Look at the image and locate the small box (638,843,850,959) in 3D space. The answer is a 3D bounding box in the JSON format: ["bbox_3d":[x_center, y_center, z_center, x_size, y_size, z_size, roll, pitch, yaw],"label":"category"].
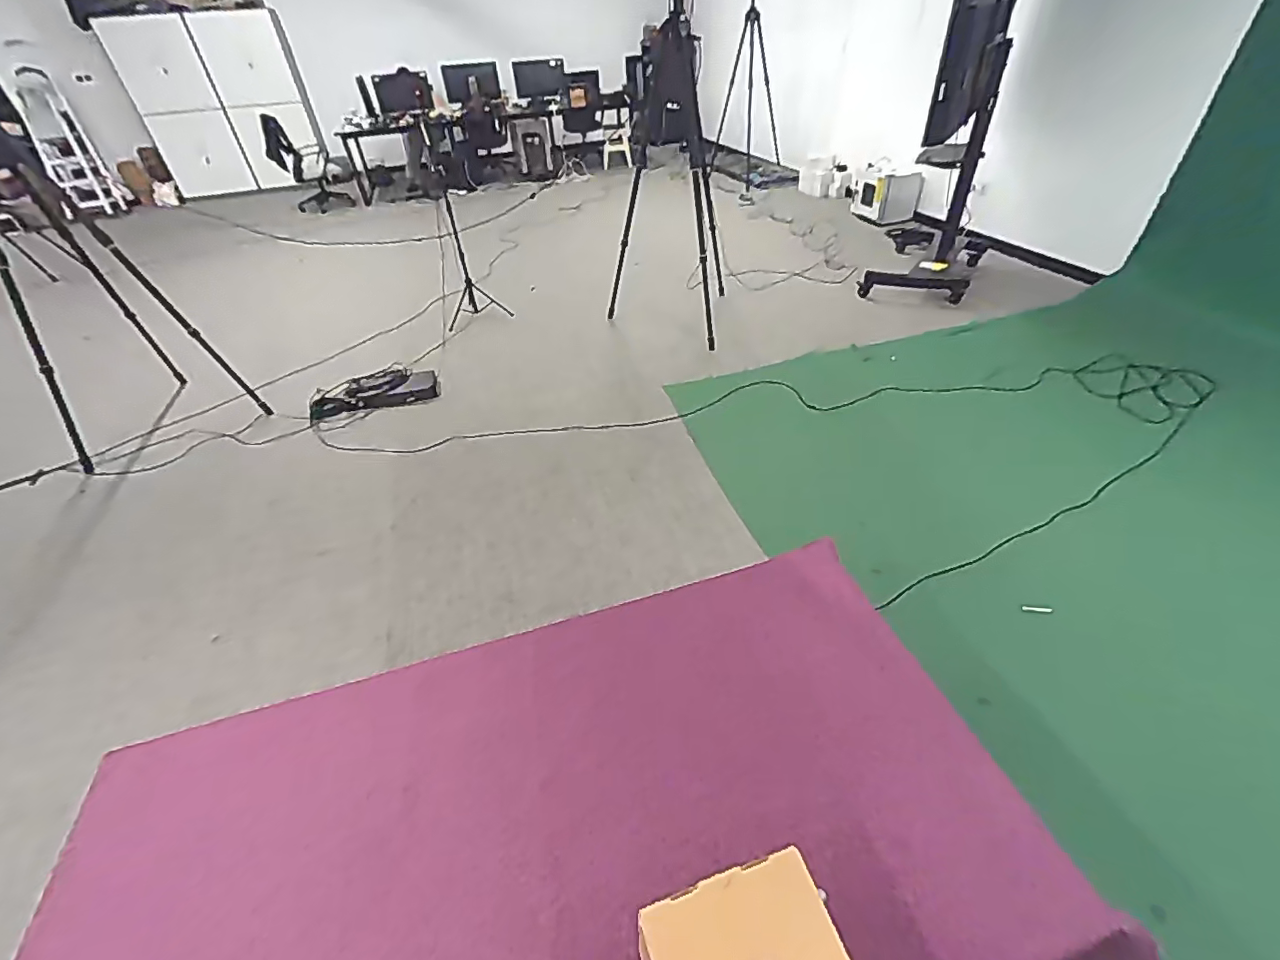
[{"bbox_3d":[0.104,0.487,0.506,0.168,0.176,0.179,-14,41,-13],"label":"small box"}]
